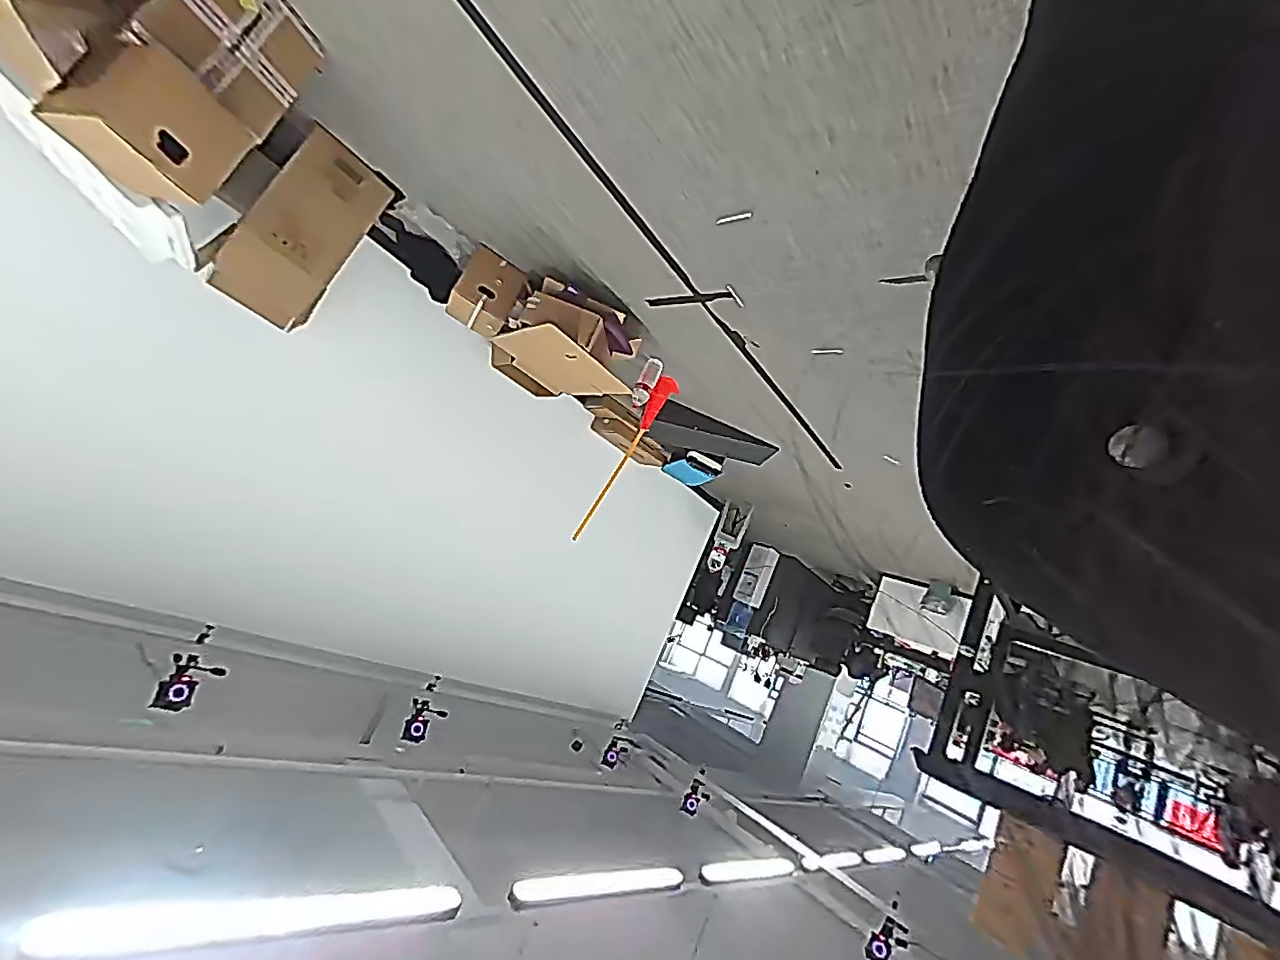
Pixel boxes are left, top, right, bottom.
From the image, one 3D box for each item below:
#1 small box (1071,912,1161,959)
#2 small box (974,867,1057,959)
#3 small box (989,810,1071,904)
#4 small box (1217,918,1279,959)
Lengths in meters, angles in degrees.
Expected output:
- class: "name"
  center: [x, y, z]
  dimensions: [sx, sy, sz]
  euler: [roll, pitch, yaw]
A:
- class: "small box"
  center: [1.265, 1.301, 1.442]
  dimensions: [0.168, 0.176, 0.179]
  euler: [10, 163, 46]
- class: "small box"
  center: [1.105, 1.265, 1.588]
  dimensions: [0.168, 0.176, 0.179]
  euler: [14, 164, 43]
- class: "small box"
  center: [1.171, 1.117, 1.619]
  dimensions: [0.168, 0.176, 0.179]
  euler: [11, 163, 44]
- class: "small box"
  center: [1.515, 1.197, 1.292]
  dimensions: [0.168, 0.176, 0.179]
  euler: [14, 166, 43]
